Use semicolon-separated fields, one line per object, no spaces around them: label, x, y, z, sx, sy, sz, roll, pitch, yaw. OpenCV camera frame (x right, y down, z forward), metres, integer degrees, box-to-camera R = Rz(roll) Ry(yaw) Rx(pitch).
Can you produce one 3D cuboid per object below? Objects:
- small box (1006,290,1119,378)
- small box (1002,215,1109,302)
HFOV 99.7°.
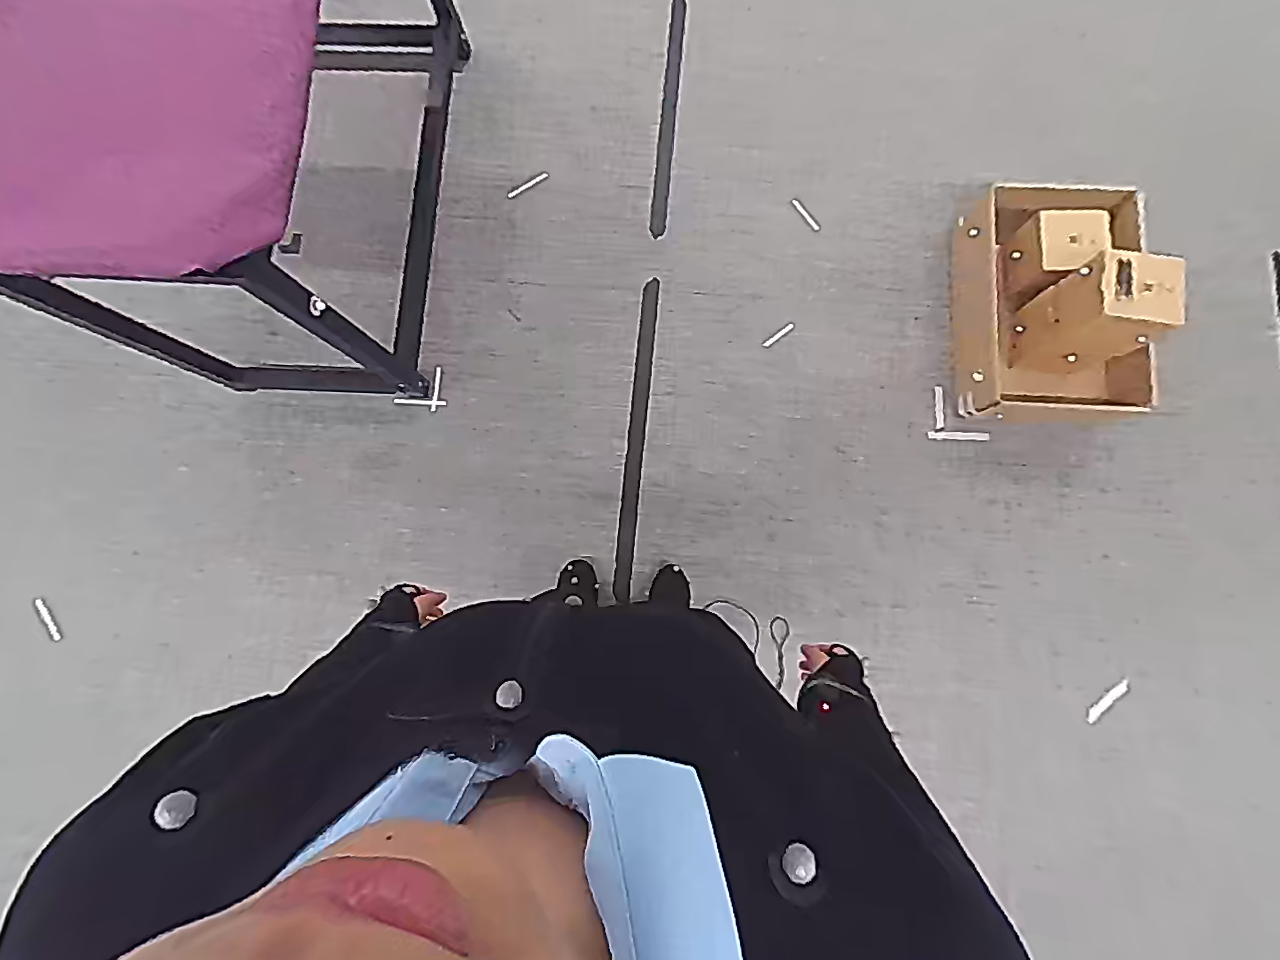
small box;1.127;-0.383;1.449;0.179;0.176;0.168;8;80;3
small box;1.121;-0.598;1.476;0.179;0.176;0.168;2;84;2
